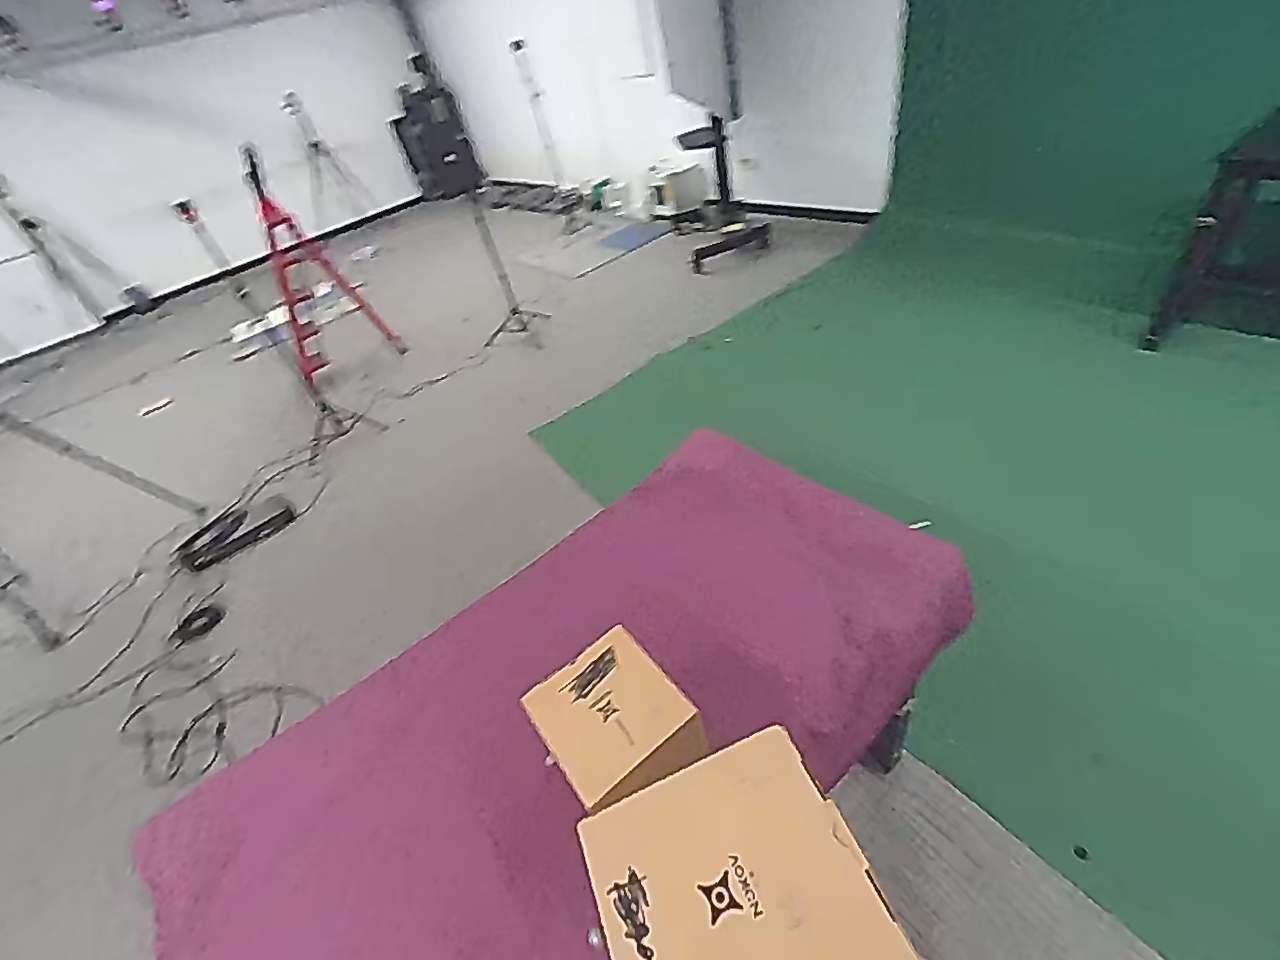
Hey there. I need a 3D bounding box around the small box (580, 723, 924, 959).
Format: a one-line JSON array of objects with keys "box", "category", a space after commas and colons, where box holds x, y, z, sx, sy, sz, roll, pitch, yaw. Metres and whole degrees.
[{"box": [0.073, 0.321, 0.402, 0.179, 0.176, 0.168, -20, 42, -8], "category": "small box"}]

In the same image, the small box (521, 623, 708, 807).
[{"box": [-0.030, 0.337, 0.726, 0.168, 0.176, 0.179, -34, 43, -20], "category": "small box"}]
